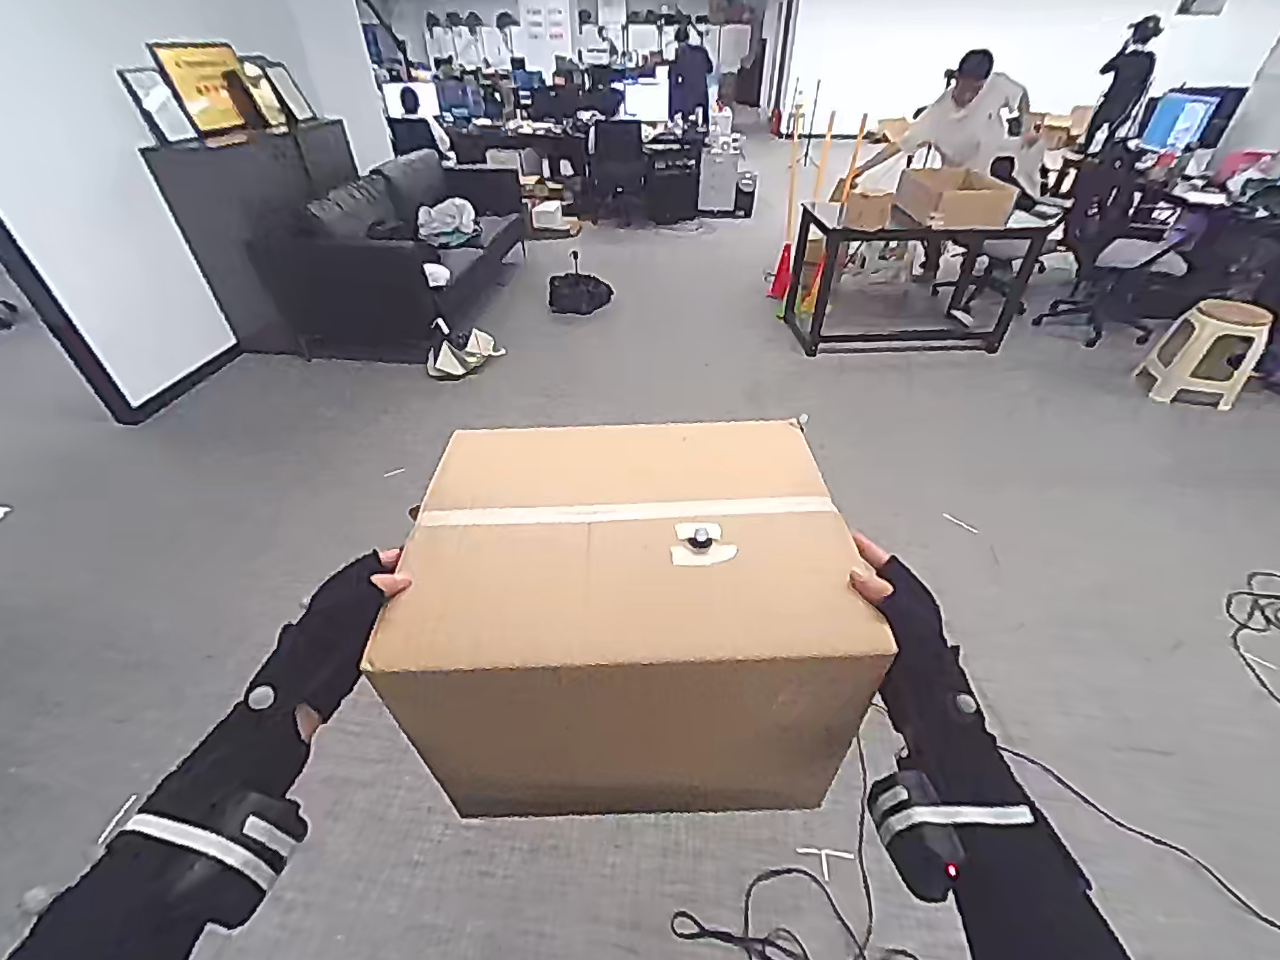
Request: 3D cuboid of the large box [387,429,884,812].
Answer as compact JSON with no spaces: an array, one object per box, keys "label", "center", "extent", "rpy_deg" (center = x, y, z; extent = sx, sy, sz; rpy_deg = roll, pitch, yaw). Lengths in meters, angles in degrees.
[{"label":"large box","center":[-0.007,0.156,0.632],"extent":[0.408,0.320,0.320],"rpy_deg":[-1,40,-1]}]
